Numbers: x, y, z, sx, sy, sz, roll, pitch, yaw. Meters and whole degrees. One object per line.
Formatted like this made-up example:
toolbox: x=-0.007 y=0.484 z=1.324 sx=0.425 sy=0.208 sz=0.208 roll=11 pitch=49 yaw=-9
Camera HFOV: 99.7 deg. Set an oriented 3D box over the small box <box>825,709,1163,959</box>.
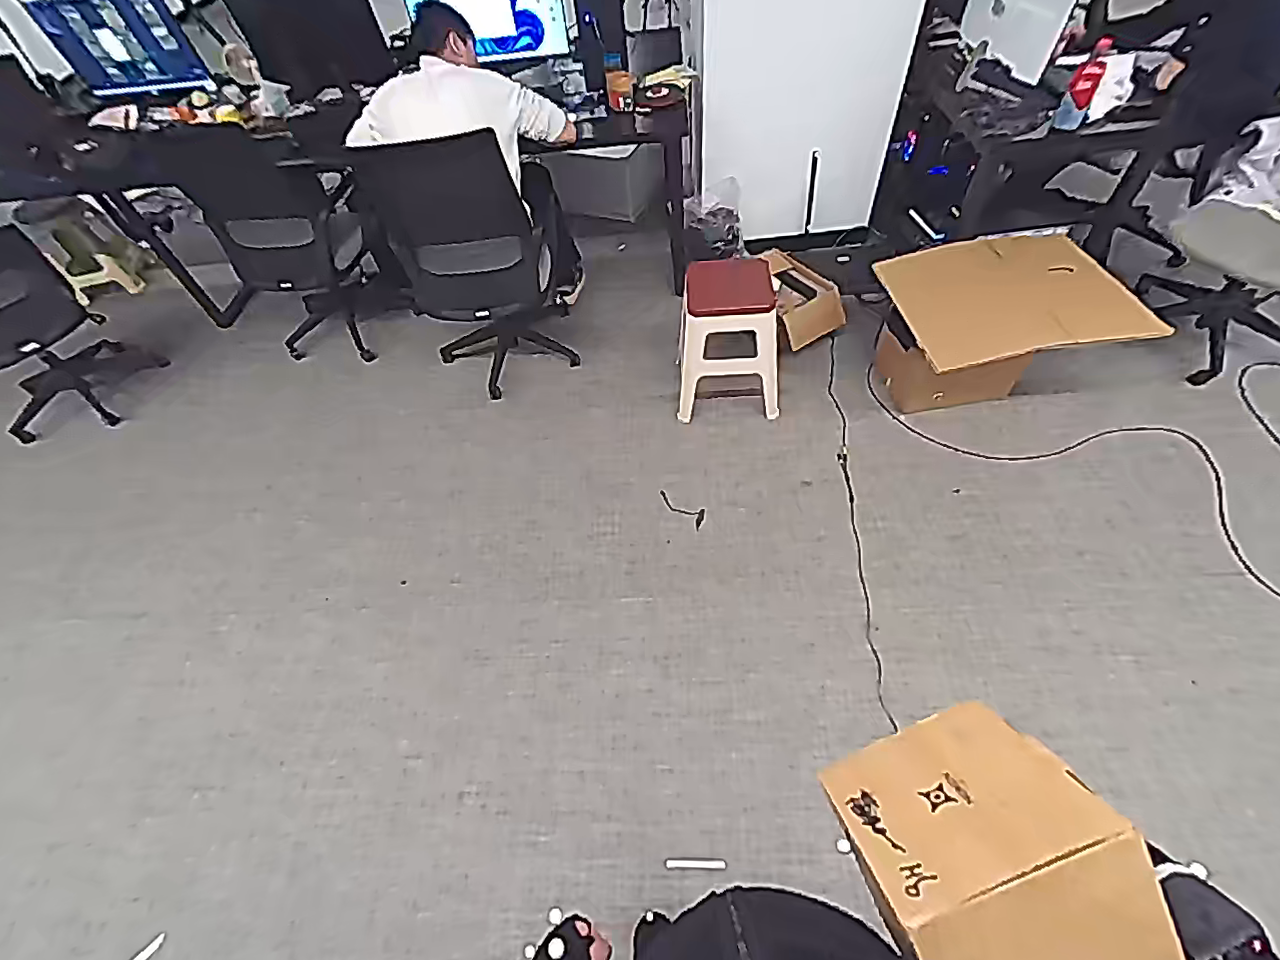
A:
small box: x=0.297 y=0.346 z=0.472 sx=0.179 sy=0.168 sz=0.176 roll=-24 pitch=97 yaw=0
